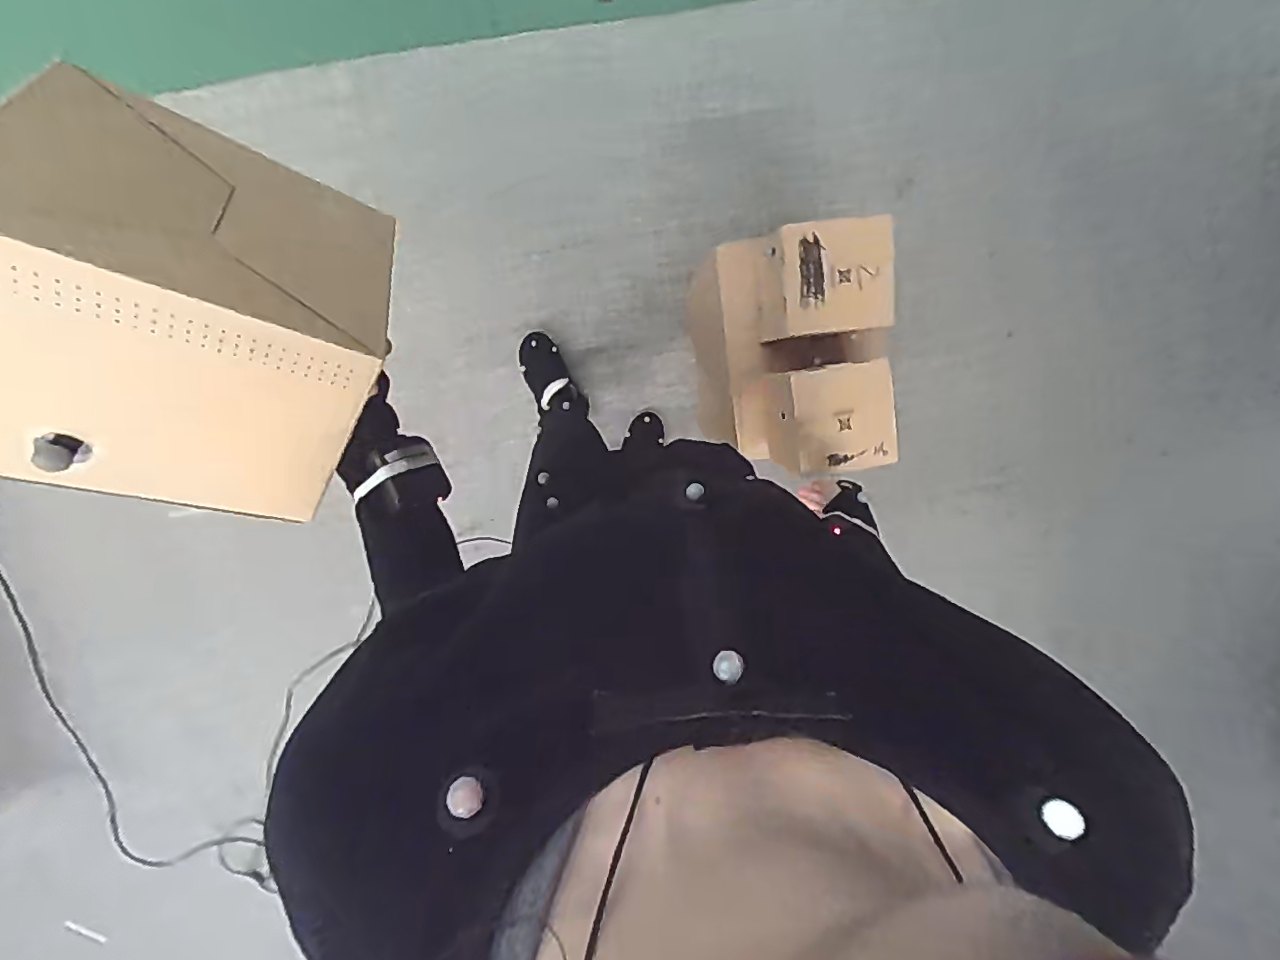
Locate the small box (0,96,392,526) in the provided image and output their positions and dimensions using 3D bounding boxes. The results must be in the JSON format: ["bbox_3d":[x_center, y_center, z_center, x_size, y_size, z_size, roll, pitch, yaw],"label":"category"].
[{"bbox_3d":[-0.278,-0.094,0.346,0.179,0.168,0.176,14,134,-36],"label":"small box"}]
